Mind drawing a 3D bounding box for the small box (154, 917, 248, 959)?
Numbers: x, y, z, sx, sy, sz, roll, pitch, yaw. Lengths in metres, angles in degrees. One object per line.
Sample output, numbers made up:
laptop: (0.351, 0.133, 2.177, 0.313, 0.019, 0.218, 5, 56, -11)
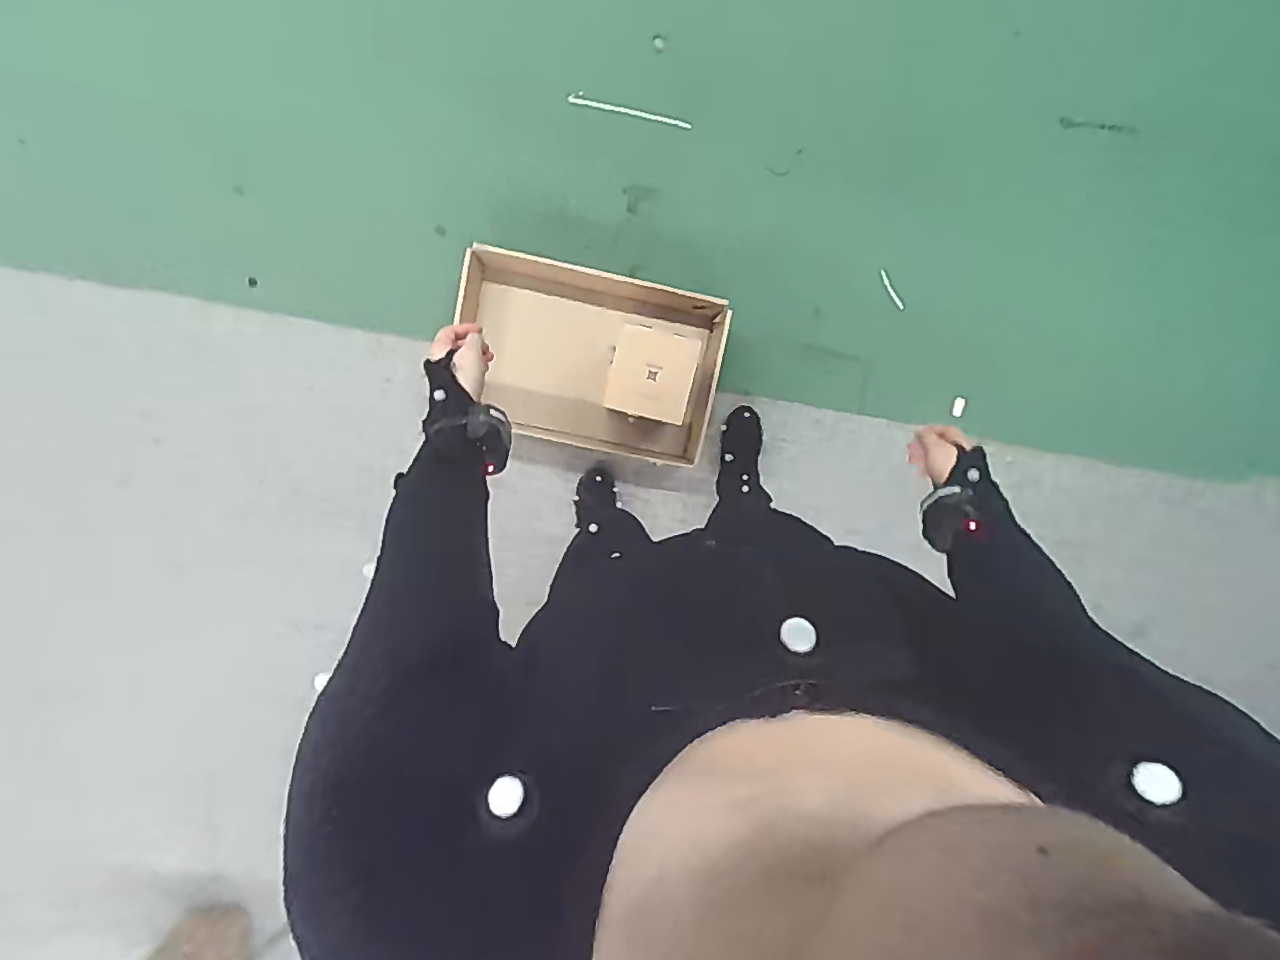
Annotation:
small box: (-1.174, 1.302, 1.429, 0.179, 0.176, 0.168, 1, 95, -3)

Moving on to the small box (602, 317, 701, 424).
small box: (0.018, -0.223, 1.133, 0.168, 0.176, 0.179, 13, 97, -4)
